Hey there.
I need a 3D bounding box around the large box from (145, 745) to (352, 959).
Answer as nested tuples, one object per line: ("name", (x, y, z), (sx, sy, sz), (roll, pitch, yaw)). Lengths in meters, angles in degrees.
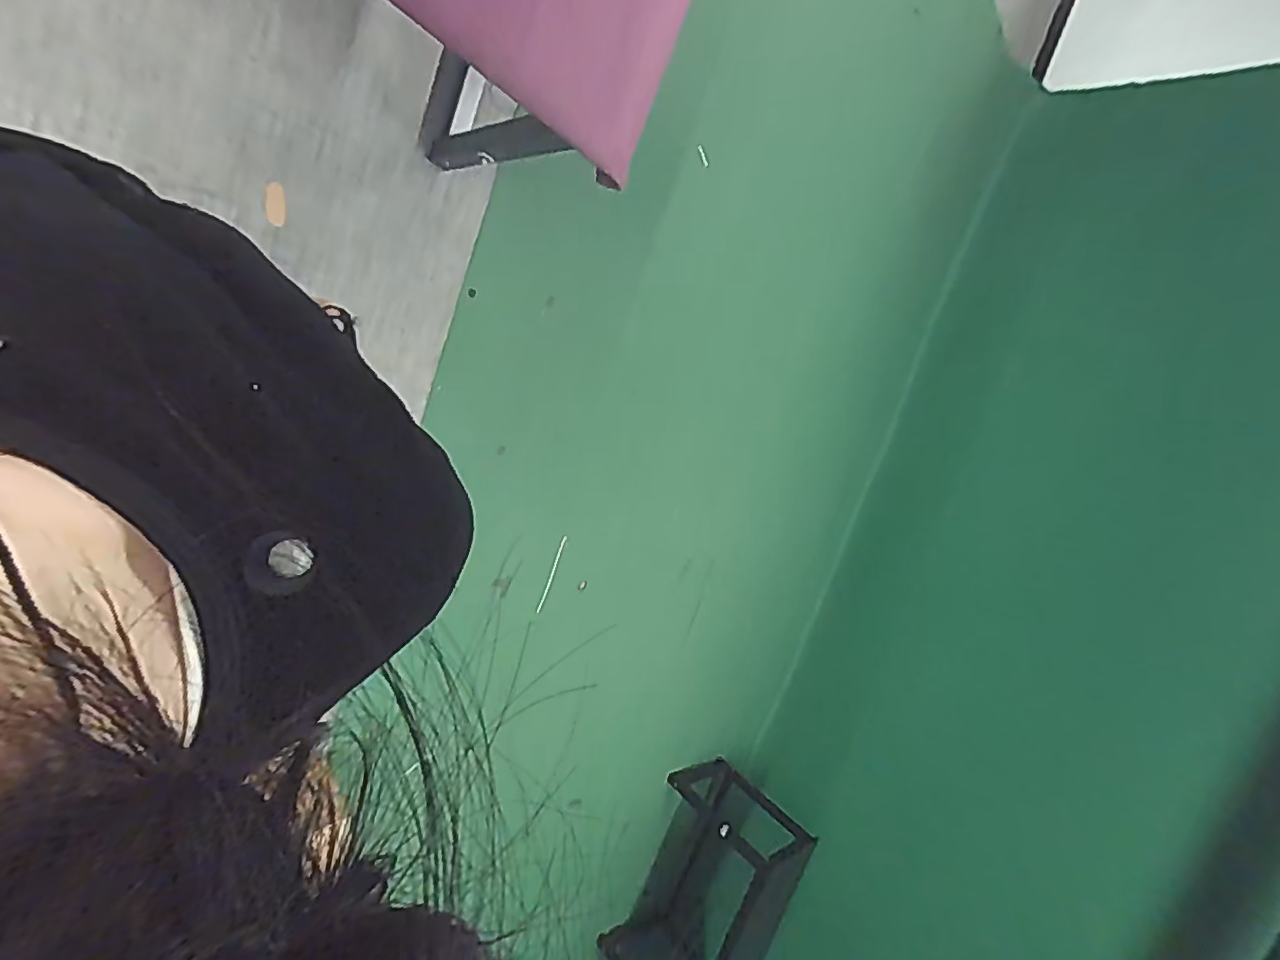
("large box", (-1.051, 1.016, 1.469), (0.408, 0.320, 0.320), (-7, 114, -44))
